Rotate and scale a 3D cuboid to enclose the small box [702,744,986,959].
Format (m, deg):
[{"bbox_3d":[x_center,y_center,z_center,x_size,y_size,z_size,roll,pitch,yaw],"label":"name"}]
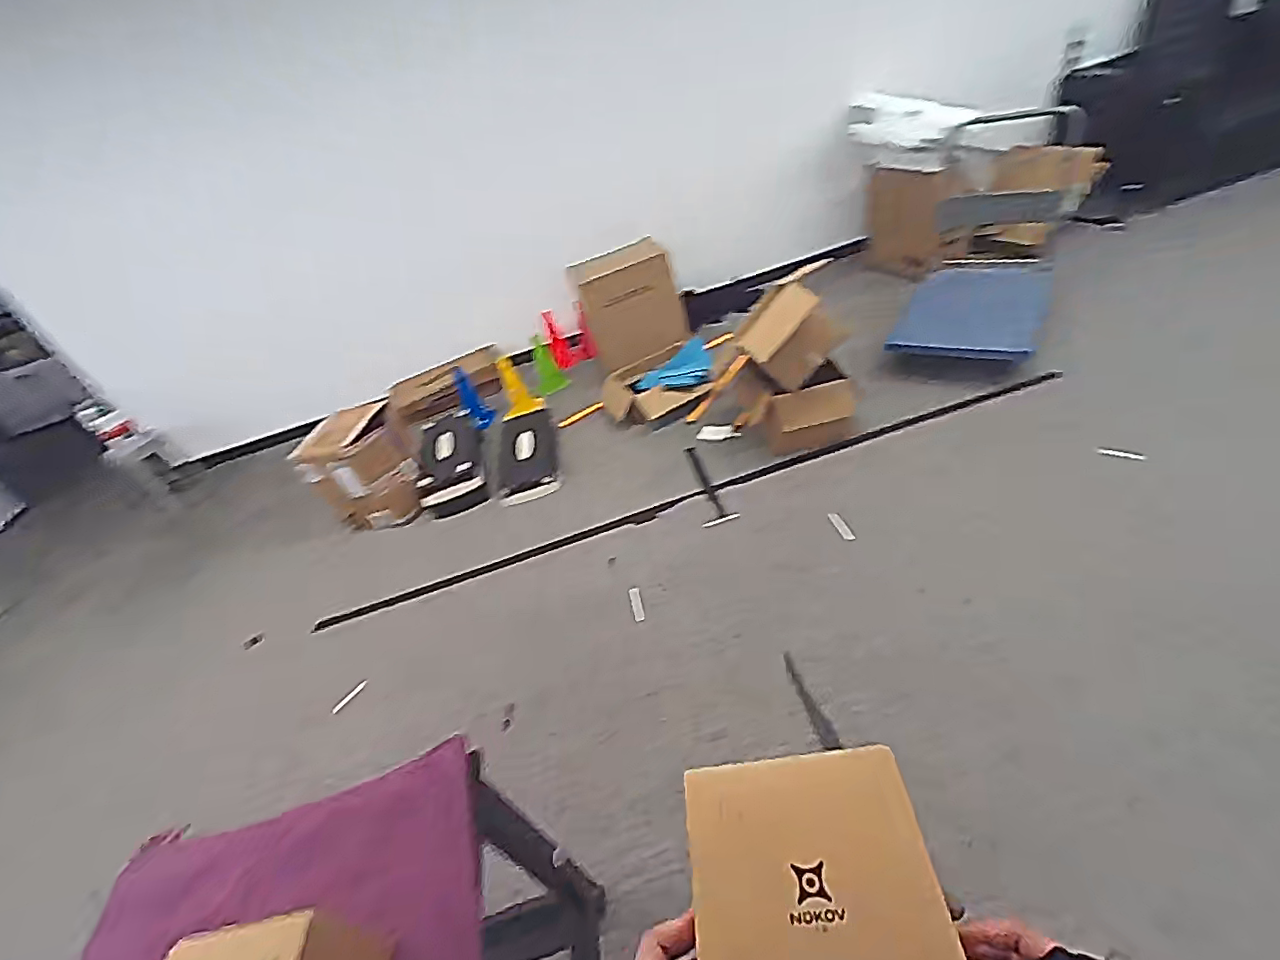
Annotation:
[{"bbox_3d":[0.145,0.332,0.414,0.168,0.176,0.179,-10,40,9],"label":"small box"}]
